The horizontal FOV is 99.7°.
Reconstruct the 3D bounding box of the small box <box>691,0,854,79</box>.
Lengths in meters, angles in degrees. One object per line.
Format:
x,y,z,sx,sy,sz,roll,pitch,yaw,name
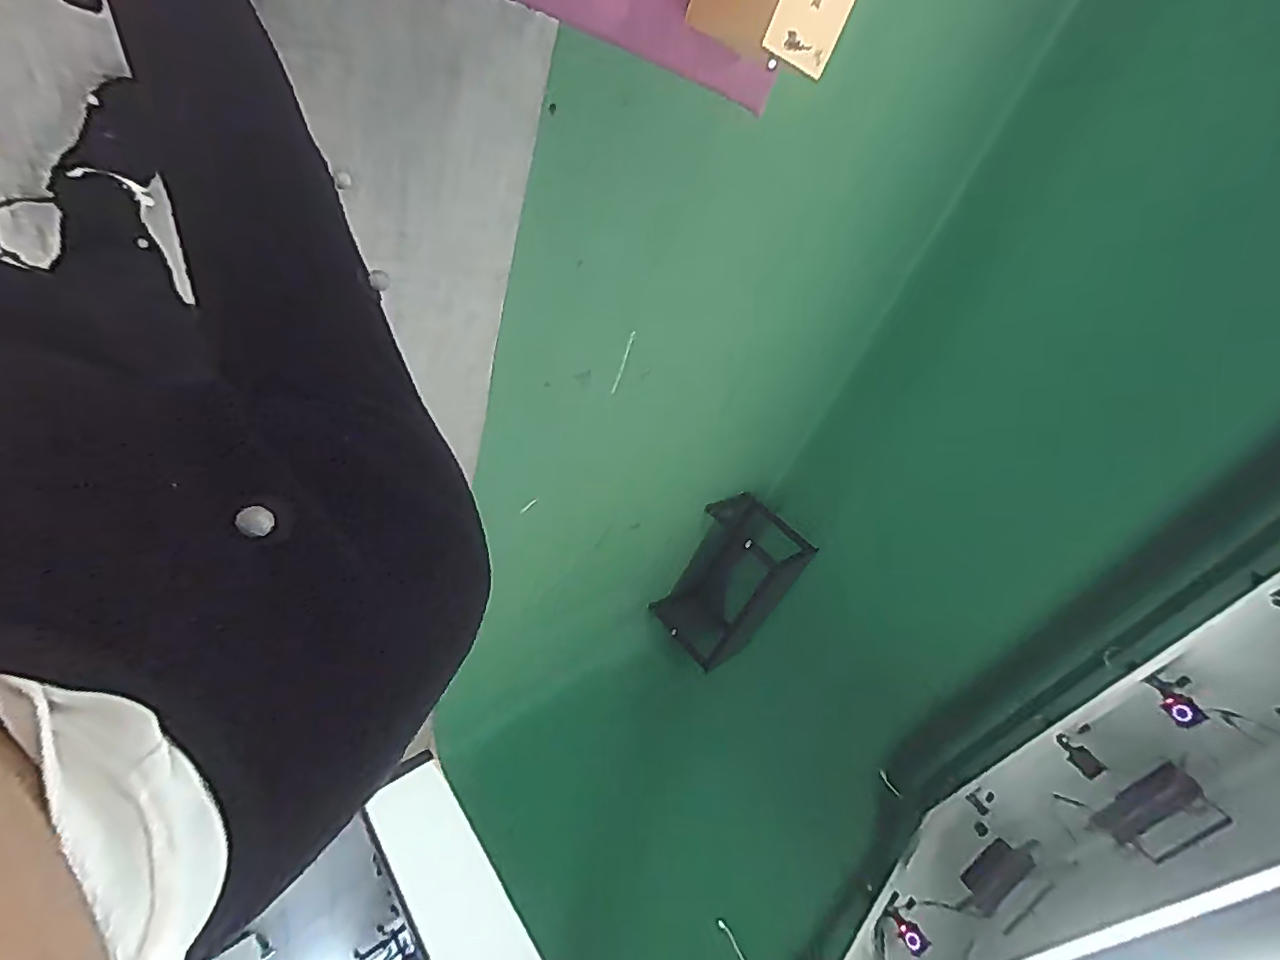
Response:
0.203,-0.734,0.791,0.168,0.176,0.179,-13,139,-42,small box
